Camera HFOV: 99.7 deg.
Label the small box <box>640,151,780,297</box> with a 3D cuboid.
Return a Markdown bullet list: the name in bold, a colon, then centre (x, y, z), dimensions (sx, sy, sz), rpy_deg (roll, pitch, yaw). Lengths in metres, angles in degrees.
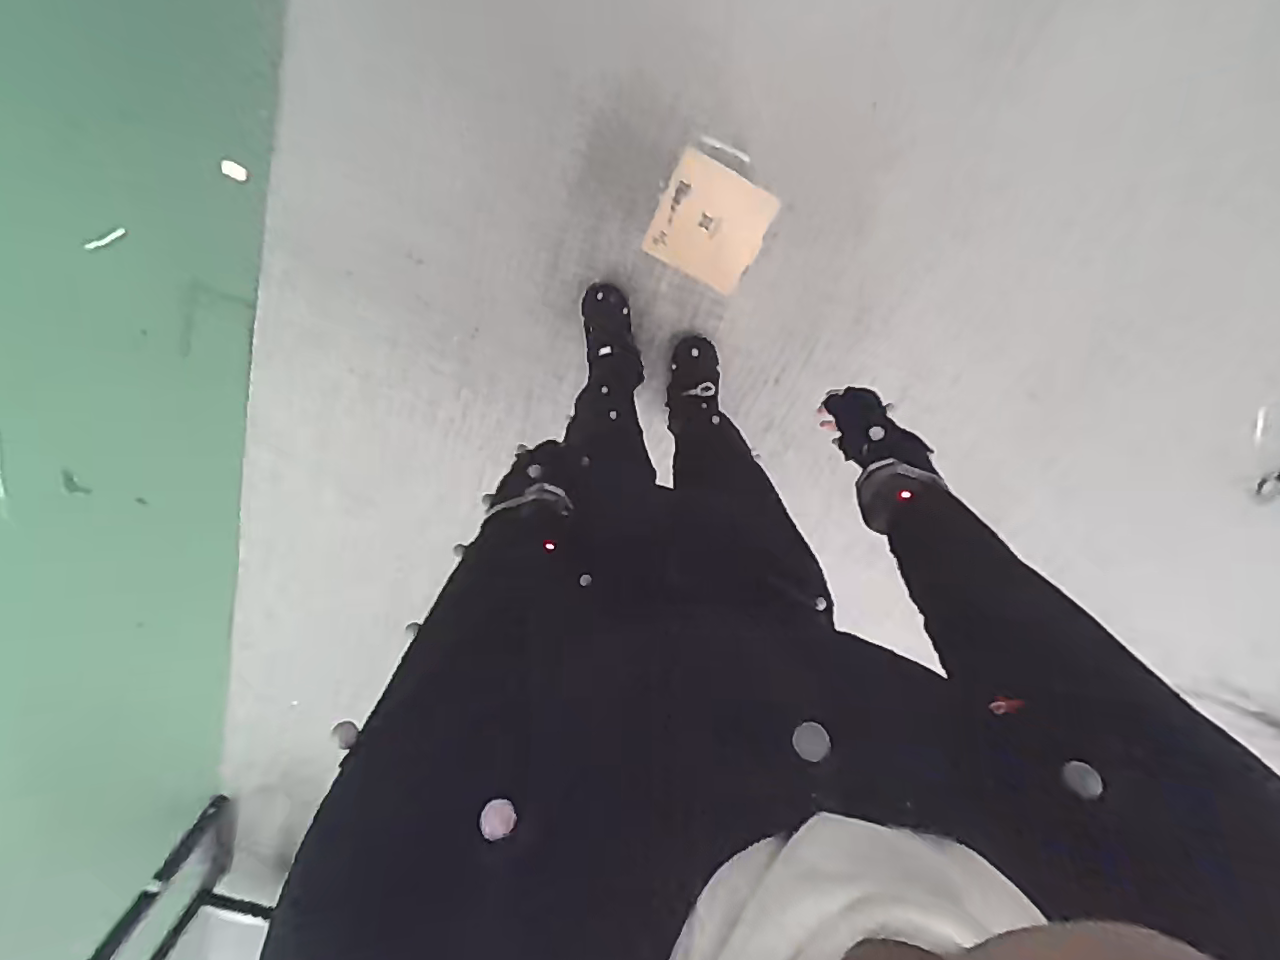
- **small box**: centre (0.117, -0.446, 0.944), dimensions (0.179, 0.176, 0.168), rpy_deg (24, 117, -7)
